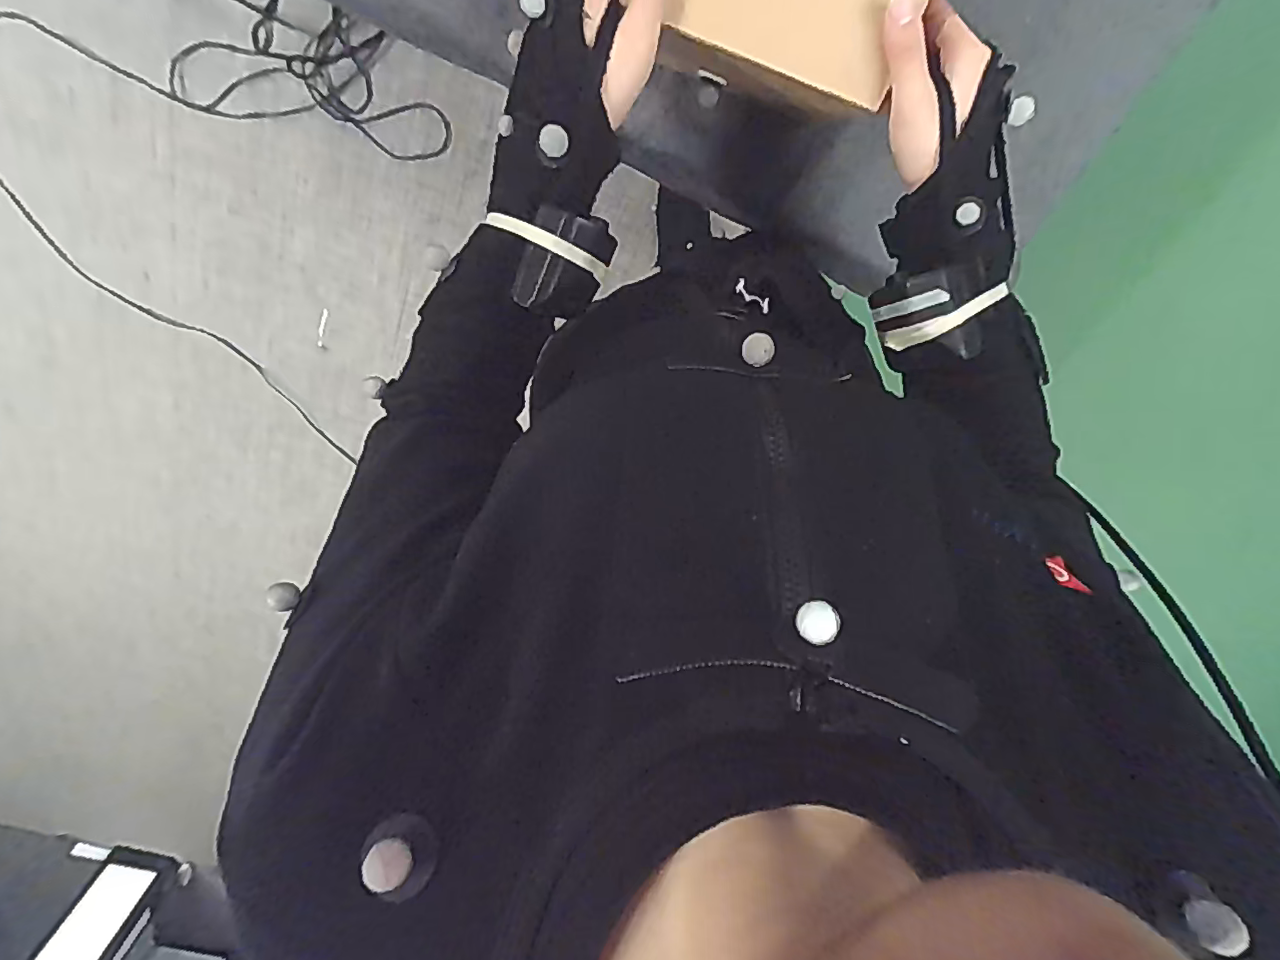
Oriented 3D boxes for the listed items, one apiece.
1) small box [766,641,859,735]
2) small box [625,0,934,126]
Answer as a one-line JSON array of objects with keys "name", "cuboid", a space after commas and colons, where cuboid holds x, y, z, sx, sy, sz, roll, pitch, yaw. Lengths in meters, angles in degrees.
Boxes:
[{"name": "small box", "cuboid": [0.482, 0.586, 1.544, 0.179, 0.176, 0.168, 19, 119, -10]}, {"name": "small box", "cuboid": [0.095, -0.349, 0.338, 0.168, 0.176, 0.179, 16, 121, -7]}]
